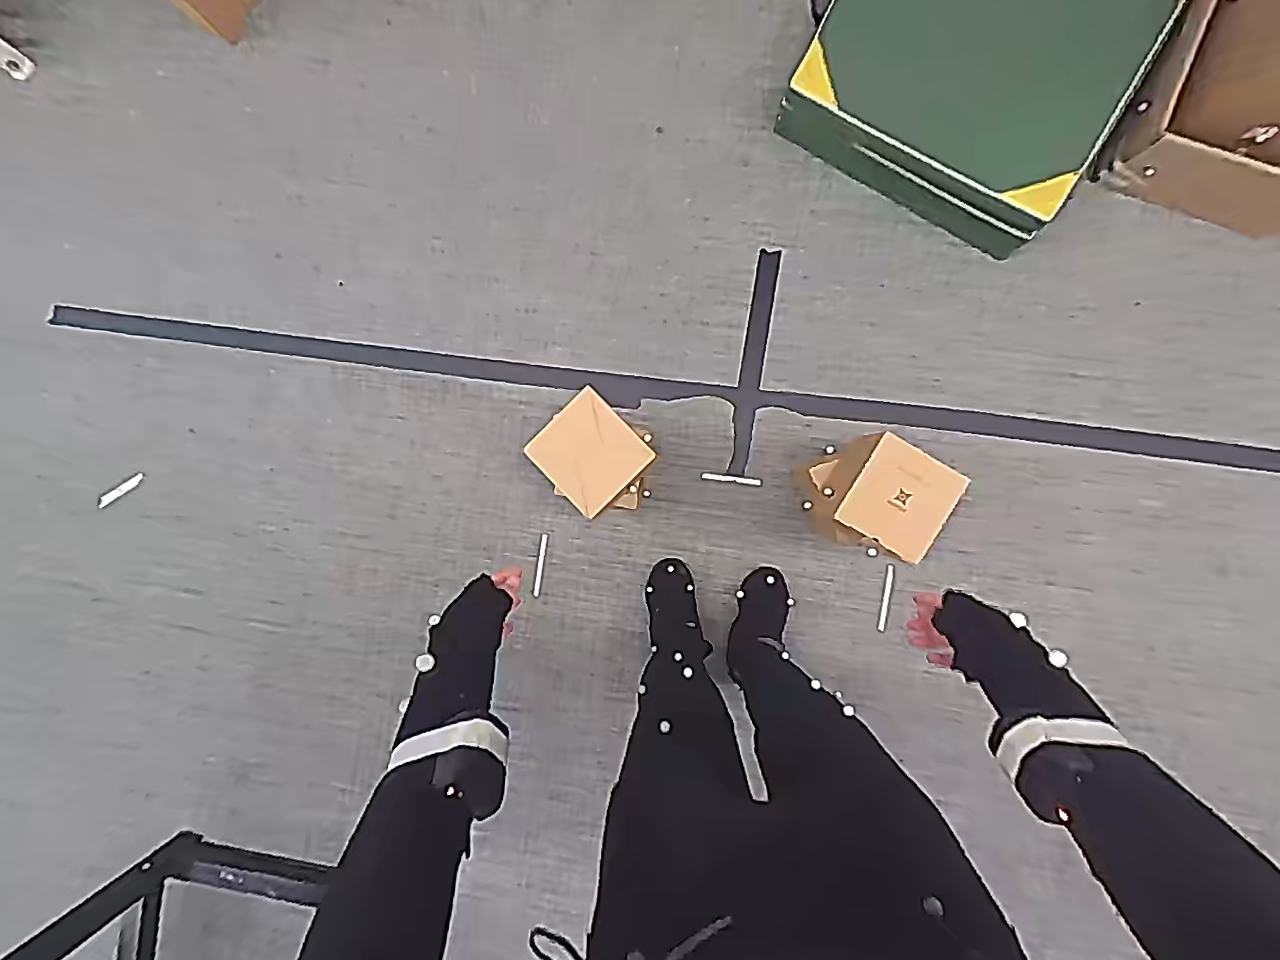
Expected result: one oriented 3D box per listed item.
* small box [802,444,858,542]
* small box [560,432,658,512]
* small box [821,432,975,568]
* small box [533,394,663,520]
[{"bbox_3d":[0.462,0.018,1.151,0.179,0.176,0.168,-25,88,4],"label":"small box"},{"bbox_3d":[-0.060,-0.029,1.192,0.179,0.176,0.168,10,91,6],"label":"small box"},{"bbox_3d":[0.452,0.033,0.986,0.168,0.176,0.179,31,92,2],"label":"small box"},{"bbox_3d":[-0.075,-0.040,1.025,0.179,0.176,0.168,41,93,2],"label":"small box"}]
